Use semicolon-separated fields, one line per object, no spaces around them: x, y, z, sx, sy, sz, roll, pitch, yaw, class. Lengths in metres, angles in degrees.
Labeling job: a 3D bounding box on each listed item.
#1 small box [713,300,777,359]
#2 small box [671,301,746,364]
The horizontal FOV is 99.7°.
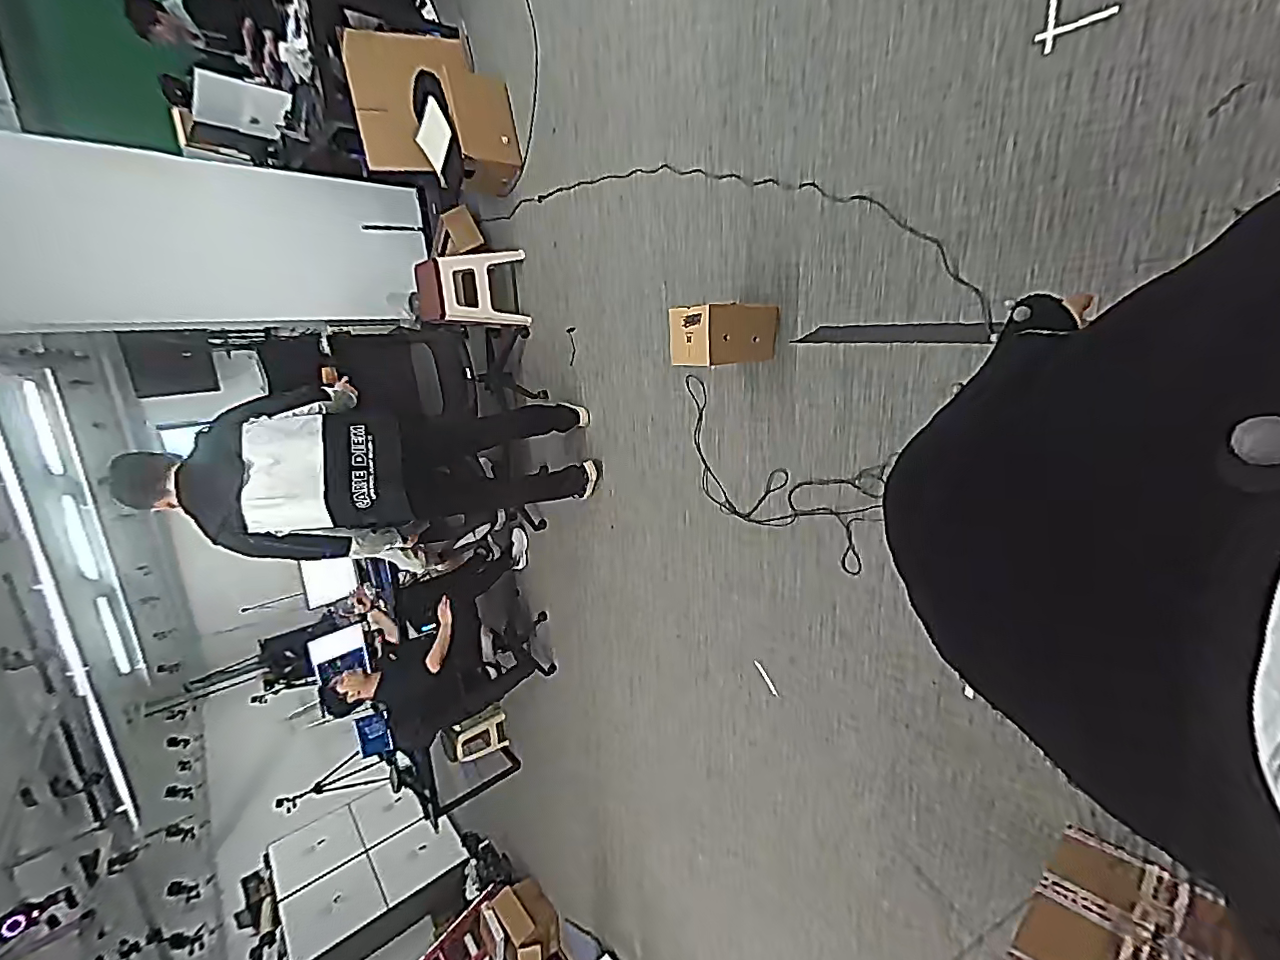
0.331;-0.494;1.773;0.168;0.176;0.179;24;120;45;small box
0.213;-0.454;1.664;0.168;0.176;0.179;15;114;48;small box
